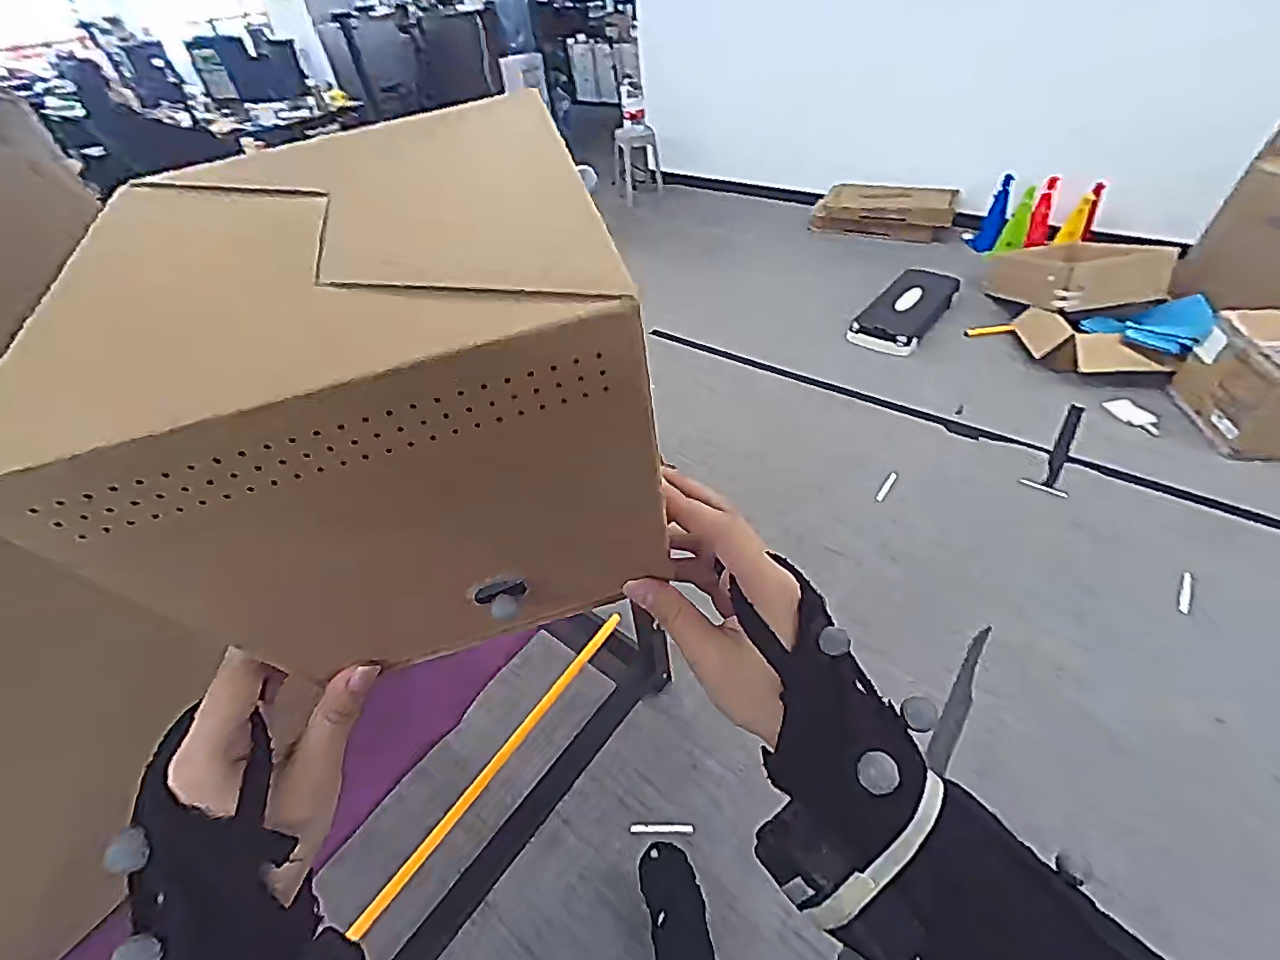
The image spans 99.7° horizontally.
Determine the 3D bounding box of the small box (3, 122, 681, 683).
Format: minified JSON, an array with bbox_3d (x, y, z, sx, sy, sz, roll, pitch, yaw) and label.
[{"bbox_3d":[-0.091,-0.034,0.247,0.179,0.176,0.168,-16,53,-5],"label":"small box"}]
